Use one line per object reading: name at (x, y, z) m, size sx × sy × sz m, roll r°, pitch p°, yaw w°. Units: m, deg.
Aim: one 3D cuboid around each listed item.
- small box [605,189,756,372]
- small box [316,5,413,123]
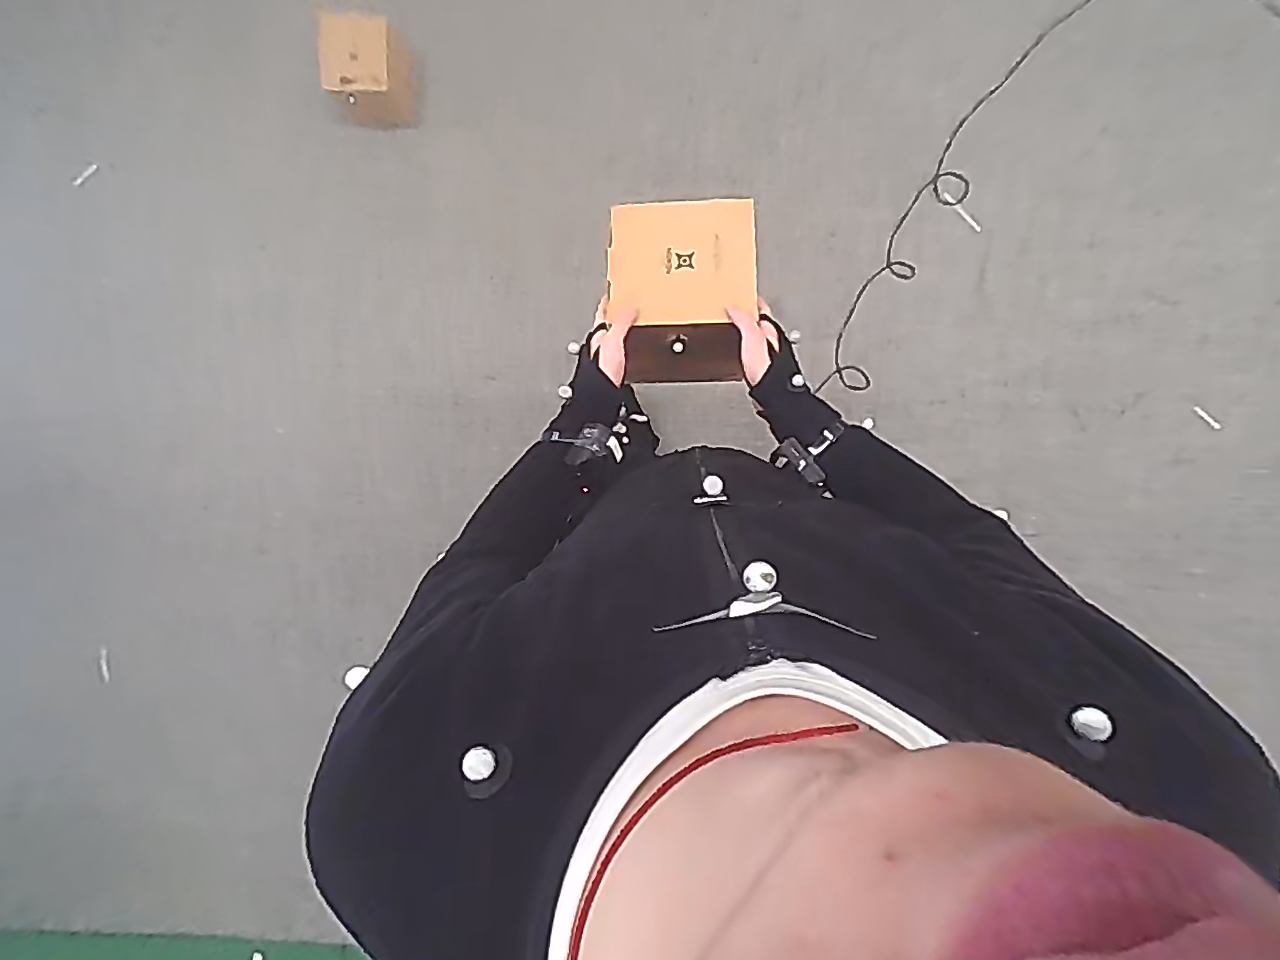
small box at (0.053, -0.251, 0.714) m, size 0.179 × 0.176 × 0.168 m, roll -1°, pitch 78°, yaw 4°
small box at (-0.695, -1.052, 1.377) m, size 0.168 × 0.176 × 0.179 m, roll 2°, pitch 96°, yaw 1°
